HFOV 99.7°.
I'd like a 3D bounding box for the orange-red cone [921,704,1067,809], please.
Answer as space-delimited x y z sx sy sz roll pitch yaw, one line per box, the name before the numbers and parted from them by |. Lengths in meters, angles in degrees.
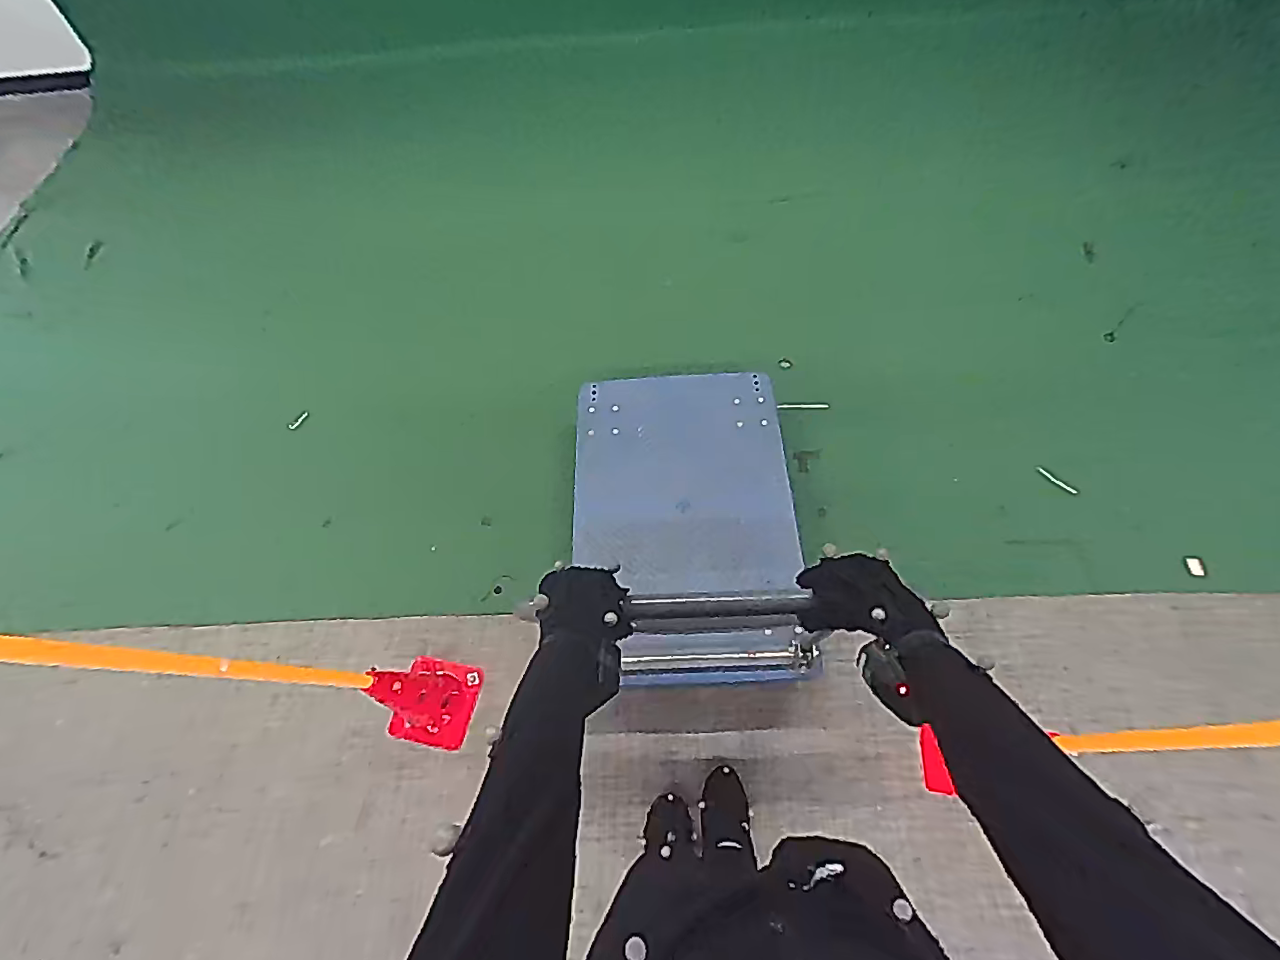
orange-red cone | 0.750 0.558 1.110 0.198 0.360 0.199 7 63 8
